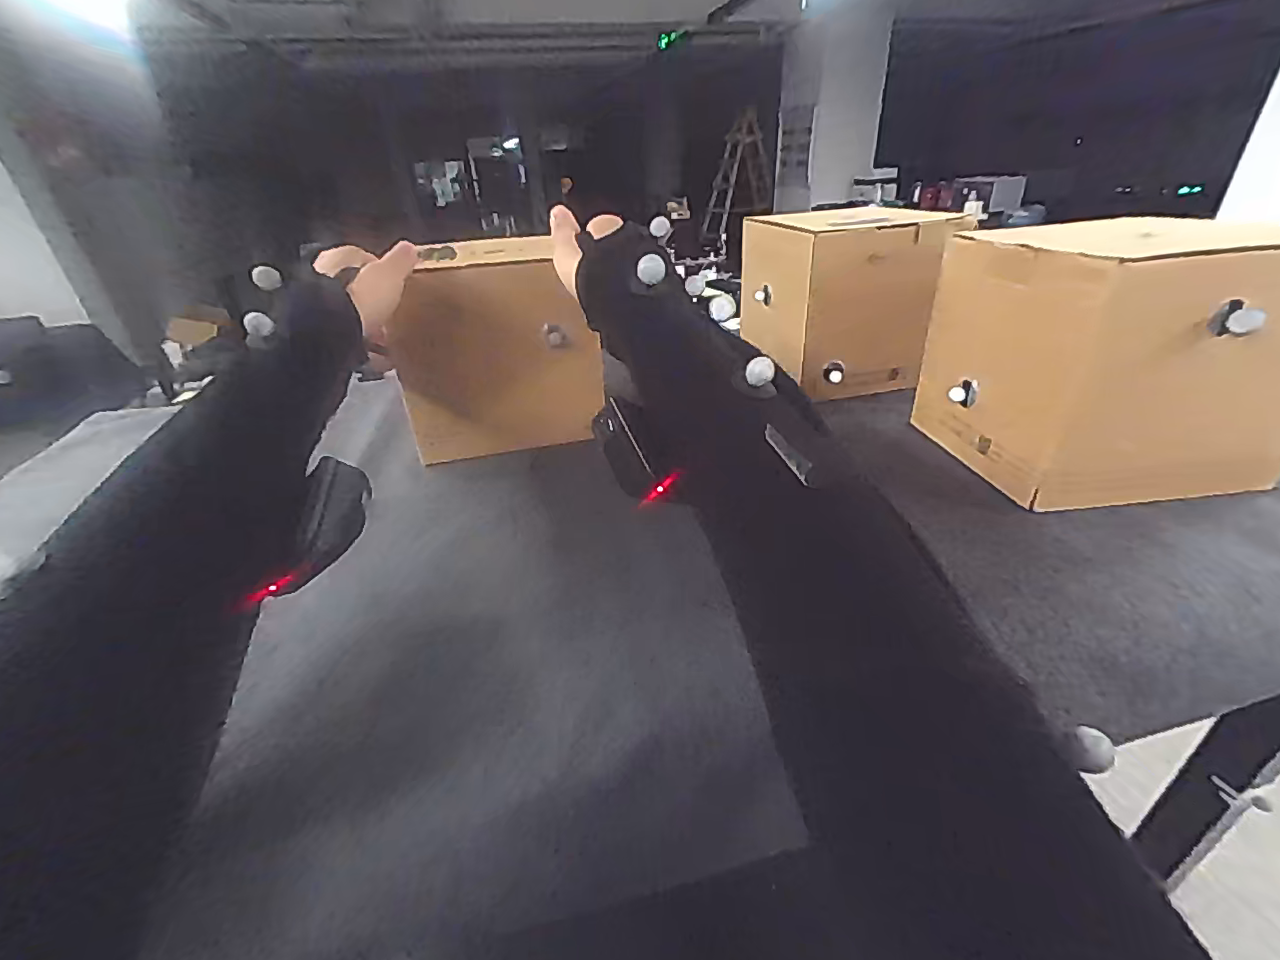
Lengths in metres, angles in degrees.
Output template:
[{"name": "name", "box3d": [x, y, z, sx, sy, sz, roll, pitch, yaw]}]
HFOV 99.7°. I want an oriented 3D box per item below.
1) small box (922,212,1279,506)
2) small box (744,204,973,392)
[{"name": "small box", "box3d": [0.344, -0.096, 0.403, 0.179, 0.176, 0.168, -6, 29, -2]}, {"name": "small box", "box3d": [0.224, -0.203, 0.604, 0.168, 0.176, 0.179, -9, 30, -9]}]
